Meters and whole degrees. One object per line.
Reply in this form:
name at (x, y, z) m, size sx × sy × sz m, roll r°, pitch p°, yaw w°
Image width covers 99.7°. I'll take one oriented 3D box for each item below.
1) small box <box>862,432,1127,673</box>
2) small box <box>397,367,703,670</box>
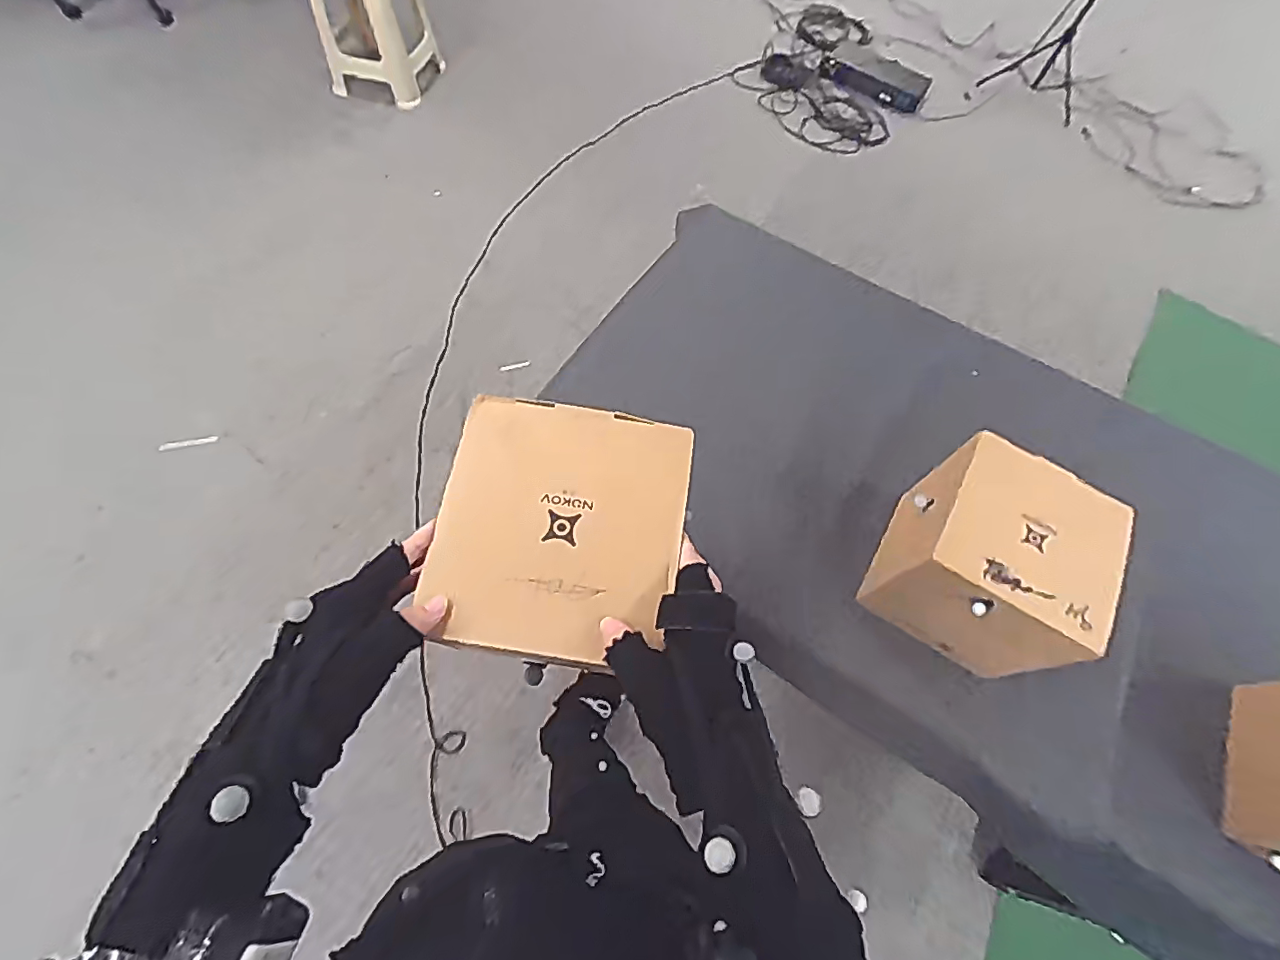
small box at (0.377, 0.087, 0.600) m, size 0.168 × 0.176 × 0.179 m, roll 31°, pitch 64°, yaw 10°
small box at (-0.056, 0.043, 0.426) m, size 0.168 × 0.176 × 0.179 m, roll 11°, pitch 69°, yaw 1°
